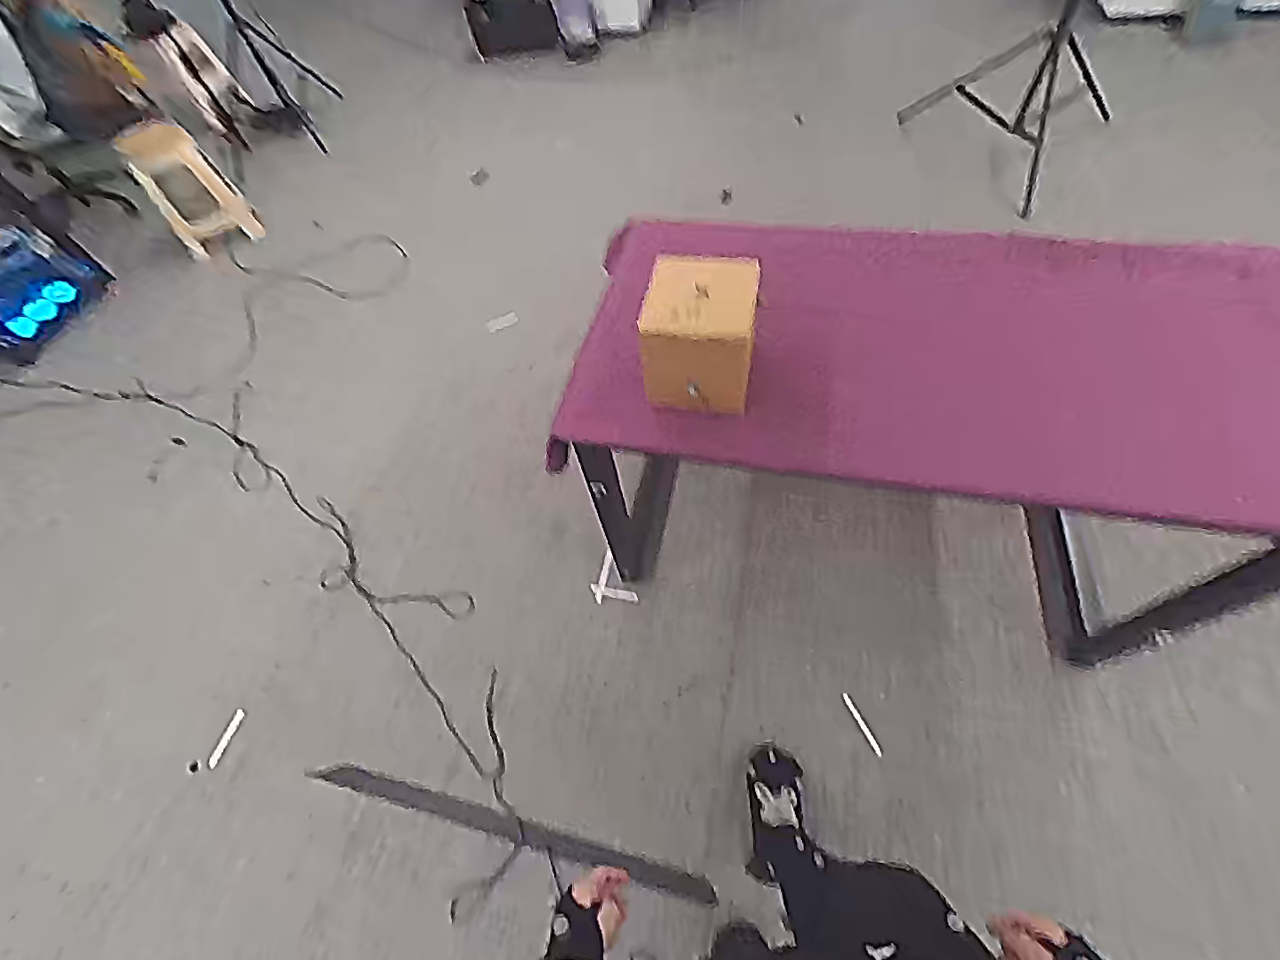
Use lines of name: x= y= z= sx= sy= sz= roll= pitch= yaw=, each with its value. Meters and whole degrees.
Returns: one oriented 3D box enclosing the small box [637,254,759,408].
small box: x=0.099 y=-0.244 z=0.892 sx=0.168 sy=0.176 sz=0.179 roll=7 pitch=59 yaw=12
